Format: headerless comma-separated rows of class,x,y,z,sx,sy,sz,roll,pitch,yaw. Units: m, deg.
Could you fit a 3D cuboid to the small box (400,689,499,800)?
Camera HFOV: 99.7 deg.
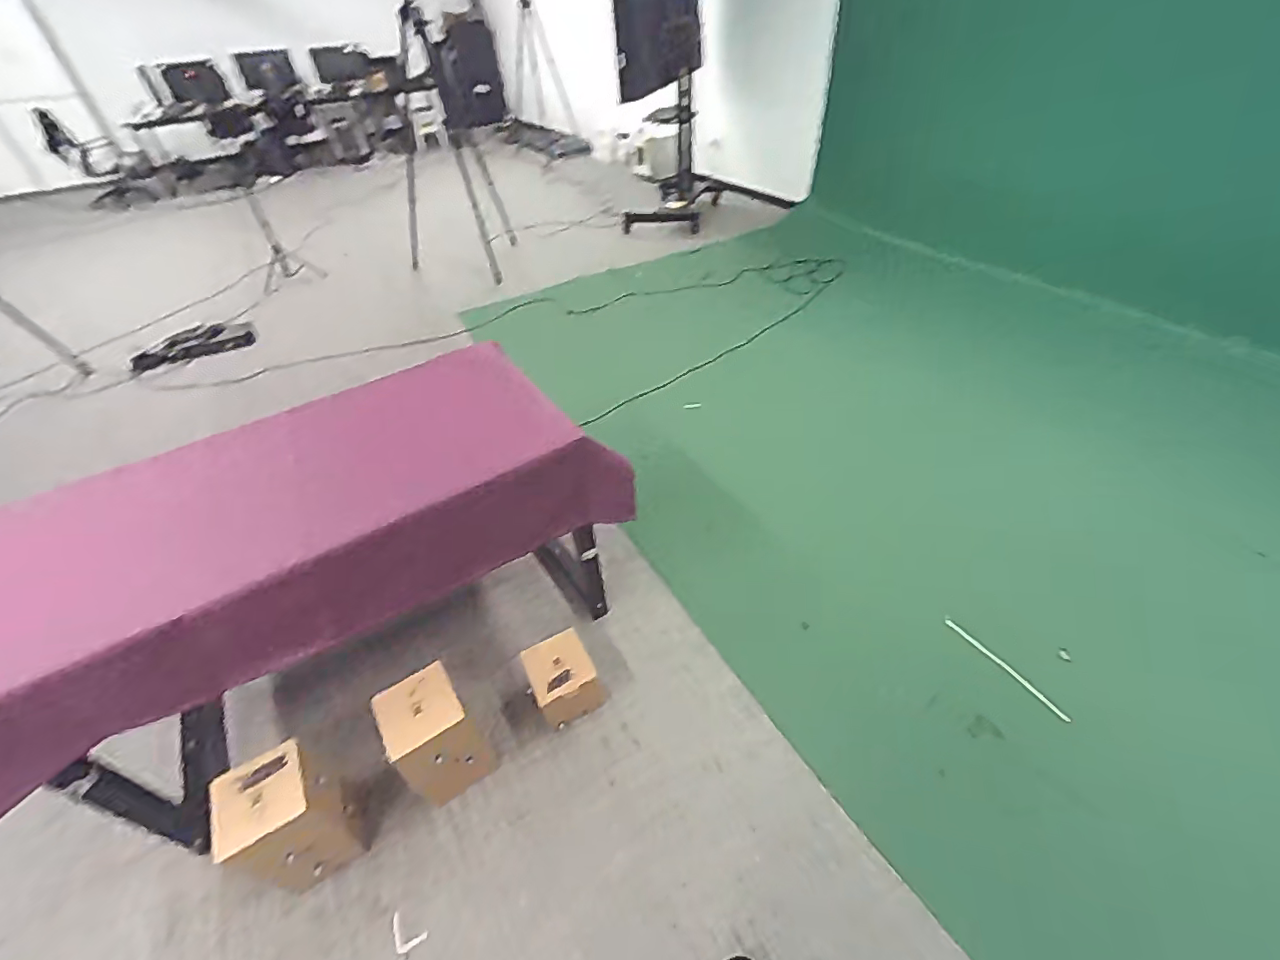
small box,-0.492,0.691,1.408,0.179,0.176,0.168,-25,46,-21
